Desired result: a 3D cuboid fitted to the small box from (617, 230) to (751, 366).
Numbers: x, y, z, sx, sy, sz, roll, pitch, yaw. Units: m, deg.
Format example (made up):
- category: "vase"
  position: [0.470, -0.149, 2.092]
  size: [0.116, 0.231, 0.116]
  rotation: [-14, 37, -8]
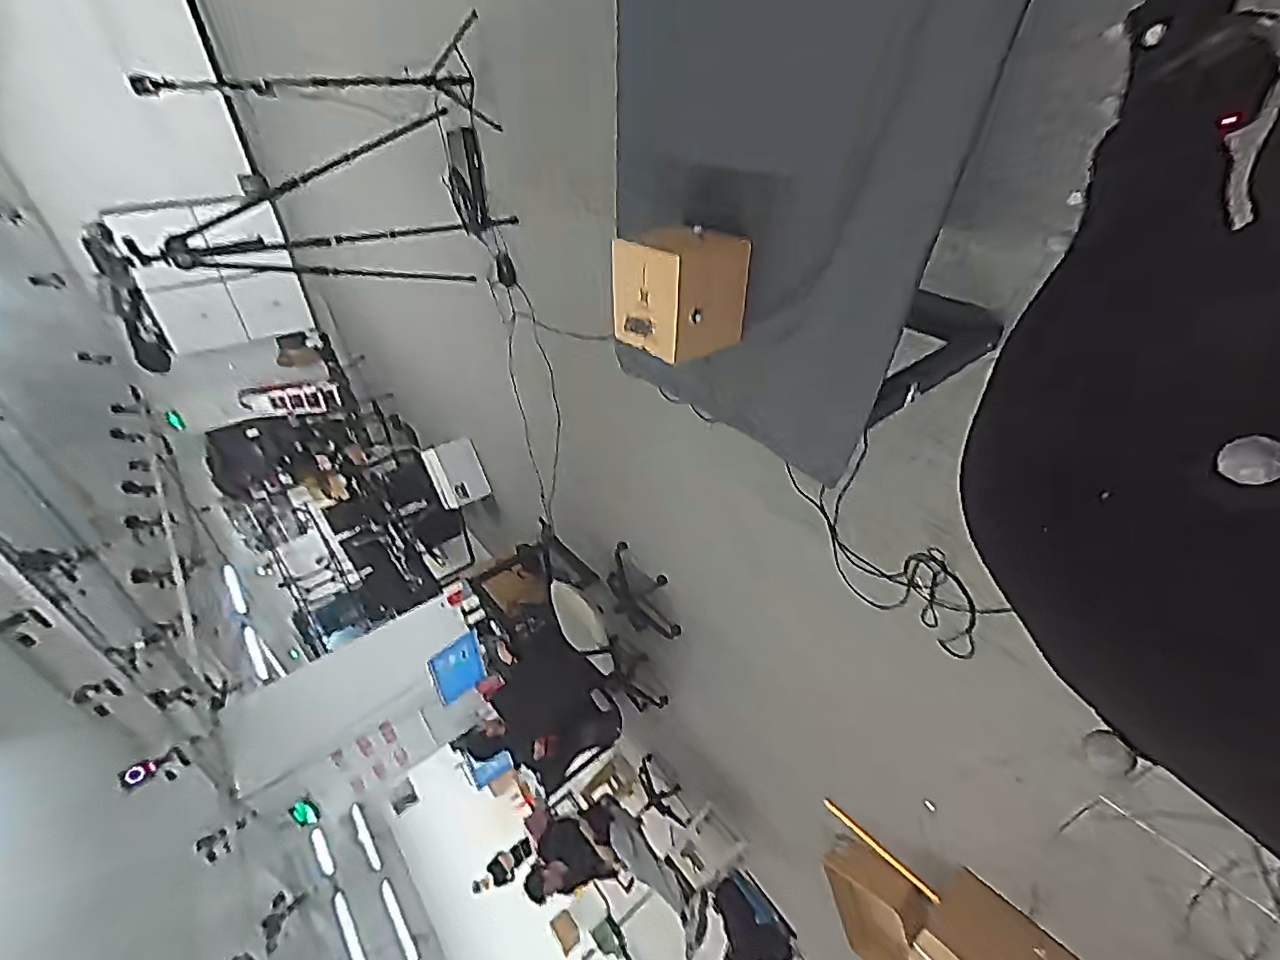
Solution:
- category: "small box"
  position: [0.077, -0.327, 0.955]
  size: [0.168, 0.176, 0.179]
  rotation: [35, 138, 38]
